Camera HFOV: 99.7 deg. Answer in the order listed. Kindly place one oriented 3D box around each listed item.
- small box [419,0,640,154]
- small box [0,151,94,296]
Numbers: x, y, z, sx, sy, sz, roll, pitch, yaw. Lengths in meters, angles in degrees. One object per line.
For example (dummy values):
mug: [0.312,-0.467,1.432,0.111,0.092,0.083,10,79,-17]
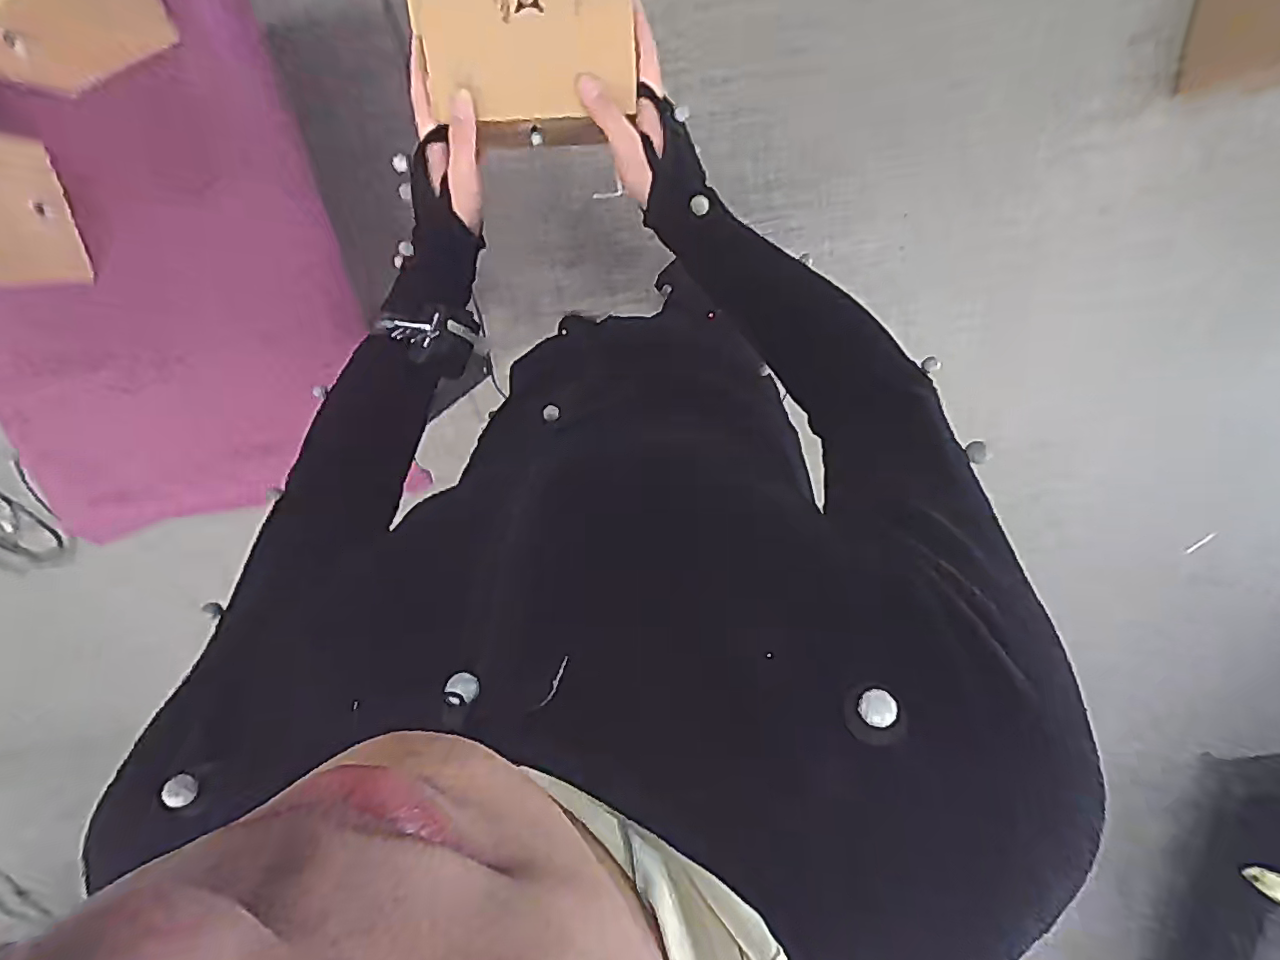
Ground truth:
small box: [-0.093,-0.411,0.502,0.179,0.176,0.168,-4,114,-4]
small box: [-0.880,-0.328,0.691,0.168,0.176,0.179,-1,112,1]
